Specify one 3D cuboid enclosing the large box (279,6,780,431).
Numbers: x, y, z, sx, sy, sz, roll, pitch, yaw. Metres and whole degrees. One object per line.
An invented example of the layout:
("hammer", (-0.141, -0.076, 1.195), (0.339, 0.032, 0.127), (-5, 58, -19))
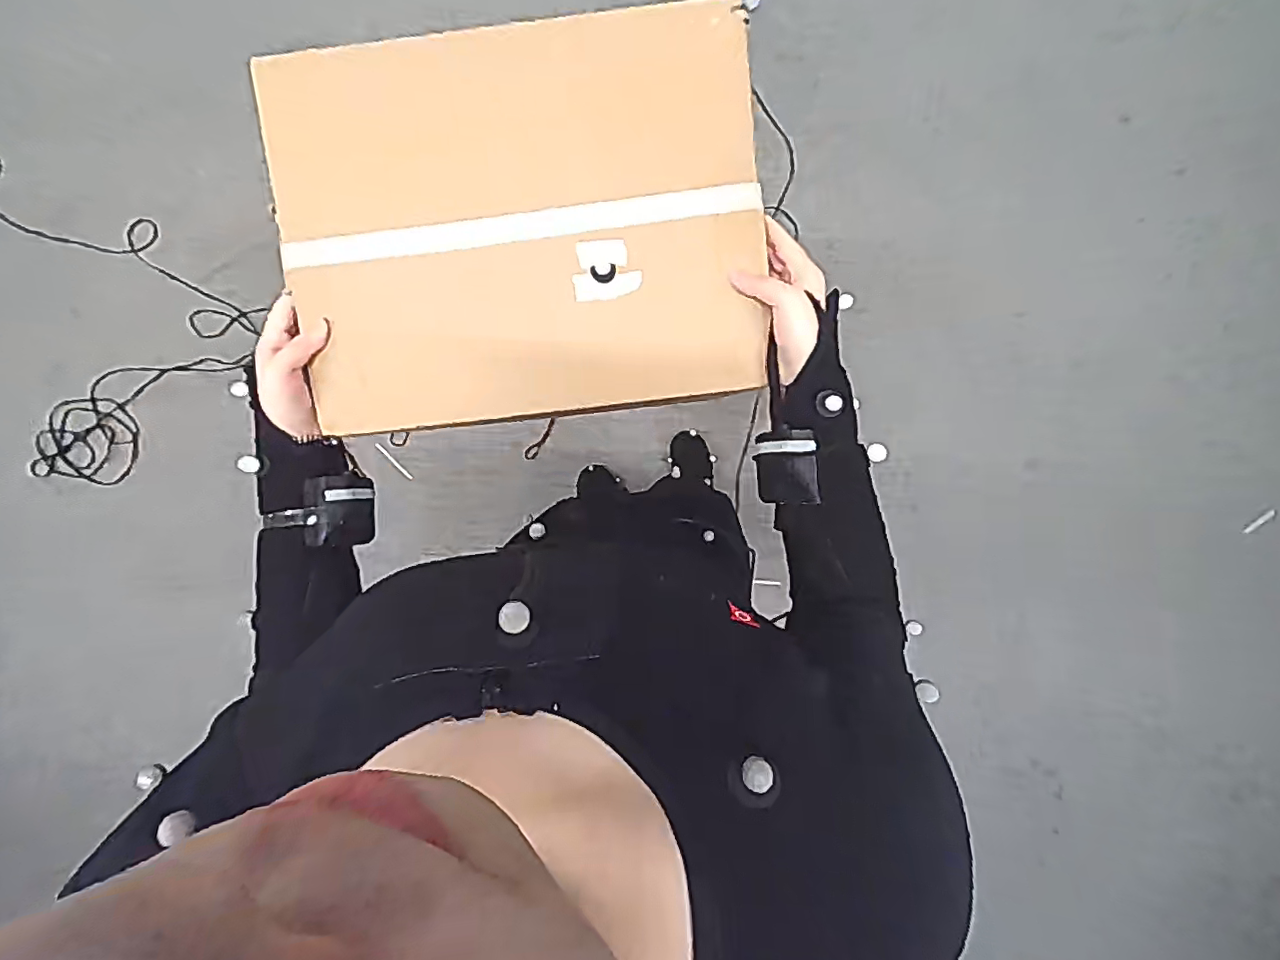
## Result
("large box", (-0.091, -0.235, 0.612), (0.408, 0.320, 0.320), (-6, 97, 0))
